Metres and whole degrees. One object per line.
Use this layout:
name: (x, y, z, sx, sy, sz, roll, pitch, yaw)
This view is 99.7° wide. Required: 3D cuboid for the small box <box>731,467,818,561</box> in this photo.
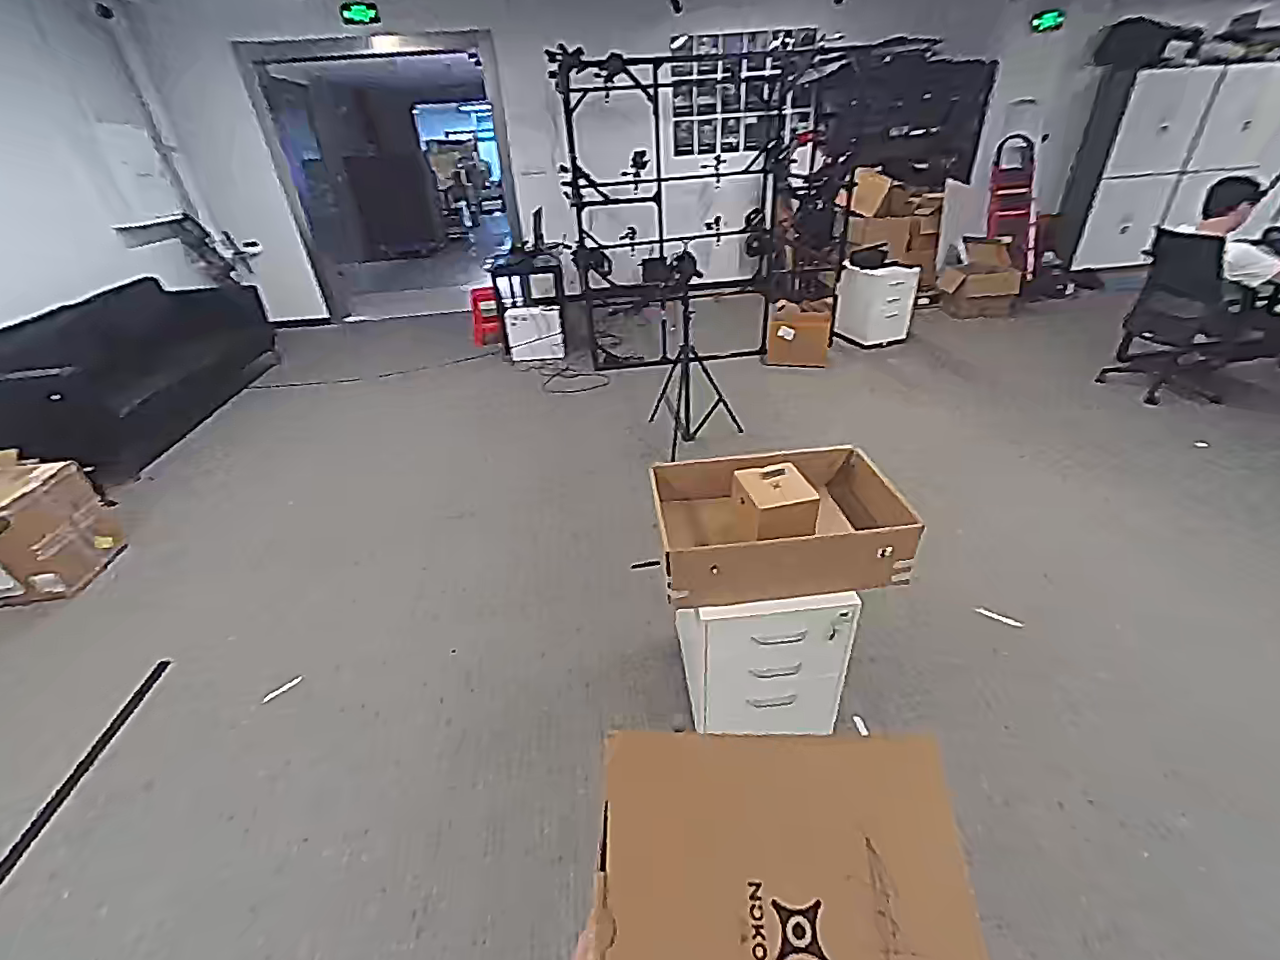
small box: (0.346, 0.089, 1.435, 0.168, 0.176, 0.179, -10, 34, -9)
